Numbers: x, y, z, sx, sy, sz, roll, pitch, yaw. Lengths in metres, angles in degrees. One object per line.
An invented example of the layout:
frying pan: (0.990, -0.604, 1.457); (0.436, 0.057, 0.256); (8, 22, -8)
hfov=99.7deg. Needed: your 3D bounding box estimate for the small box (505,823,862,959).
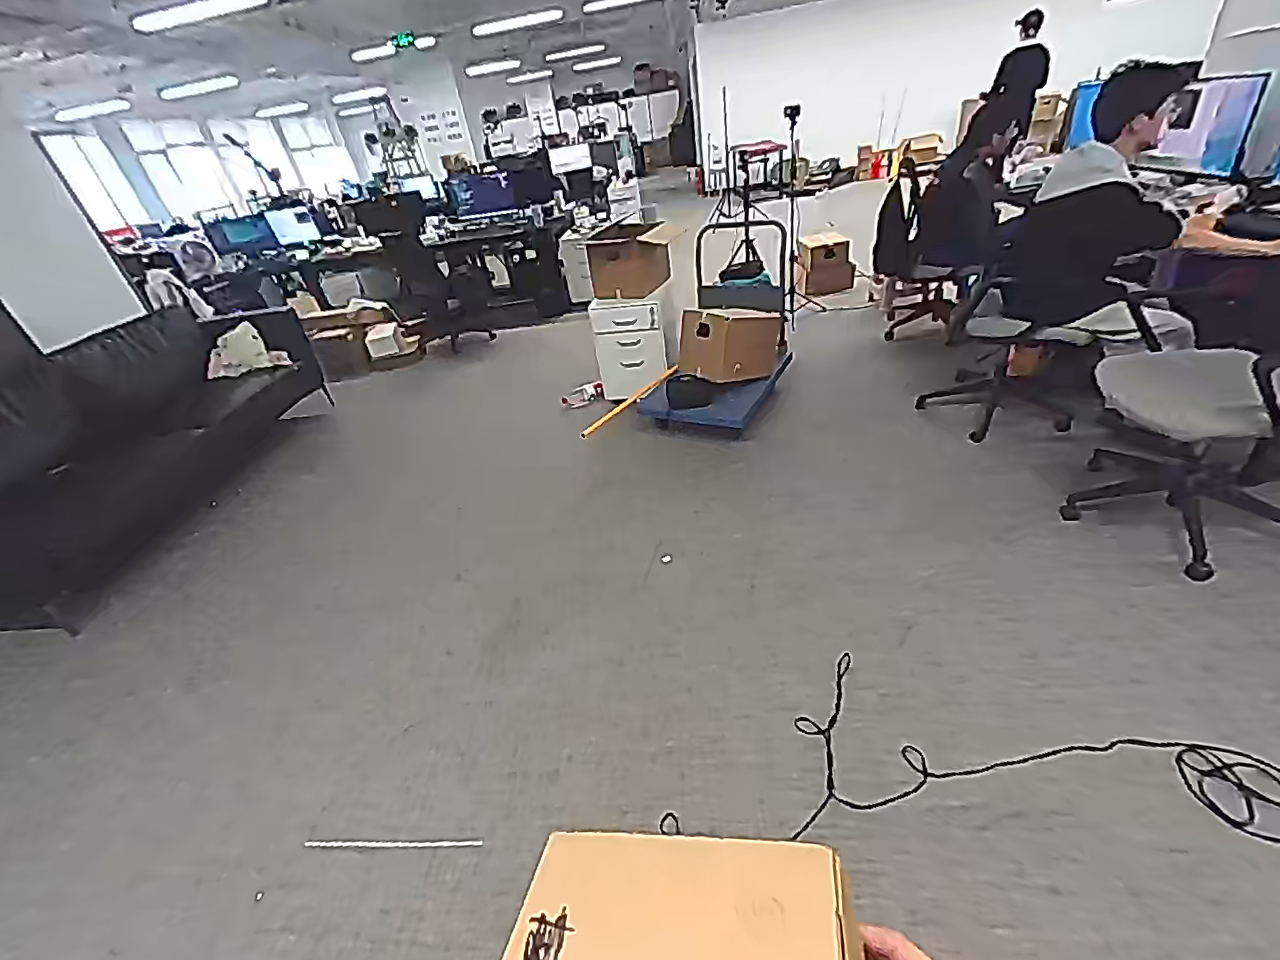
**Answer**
small box: (0.029, 0.316, 0.275); (0.179, 0.176, 0.168); (-9, 22, 21)
